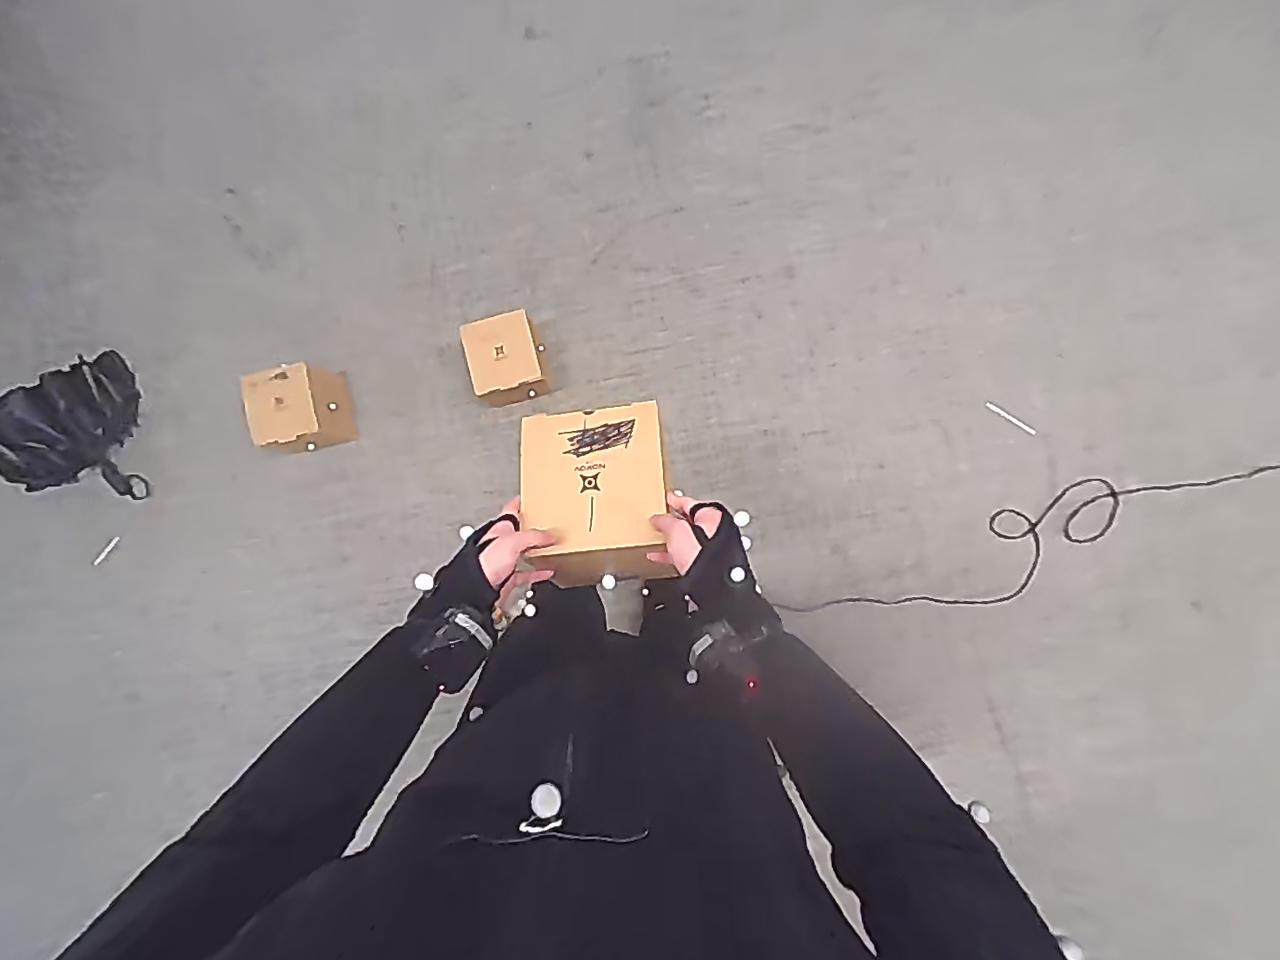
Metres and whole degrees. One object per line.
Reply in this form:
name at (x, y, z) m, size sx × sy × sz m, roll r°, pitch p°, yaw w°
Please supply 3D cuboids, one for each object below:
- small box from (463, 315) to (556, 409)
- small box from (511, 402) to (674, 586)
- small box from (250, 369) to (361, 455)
small box at (-0.321, -0.286, 1.364) m, size 0.168 × 0.176 × 0.179 m, roll -15°, pitch 85°, yaw 2°
small box at (-0.050, 0.025, 0.679) m, size 0.168 × 0.176 × 0.179 m, roll -6°, pitch 67°, yaw 7°
small box at (-0.849, -0.166, 1.389) m, size 0.168 × 0.176 × 0.179 m, roll -14°, pitch 87°, yaw 2°
